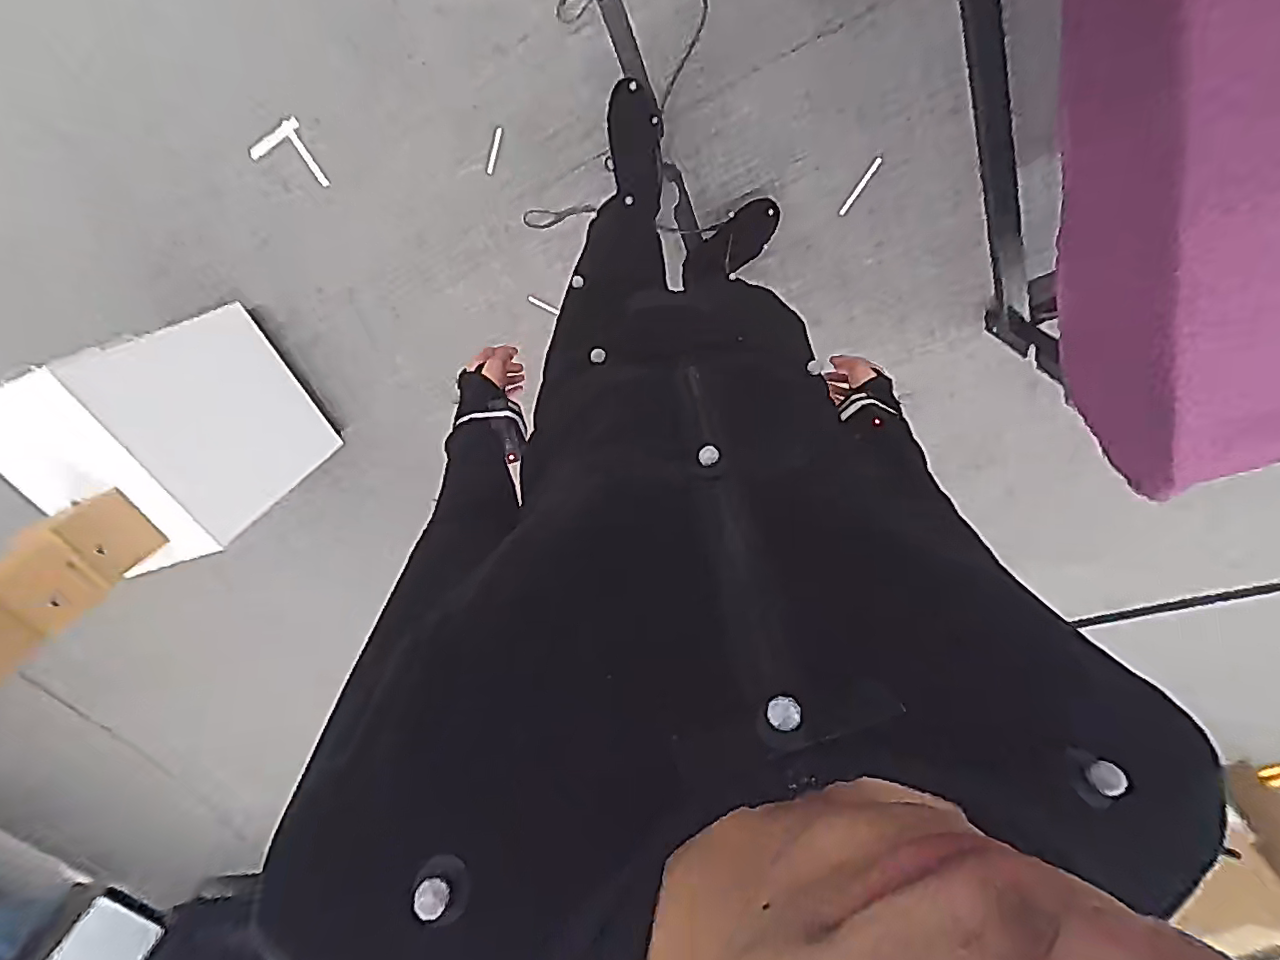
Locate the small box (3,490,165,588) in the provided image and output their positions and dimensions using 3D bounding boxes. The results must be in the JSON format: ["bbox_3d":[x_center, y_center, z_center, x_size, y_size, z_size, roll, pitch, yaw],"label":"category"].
[{"bbox_3d":[-1.313,0.150,1.295,0.168,0.176,0.179,-14,119,15],"label":"small box"}]

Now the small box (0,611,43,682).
[{"bbox_3d":[-1.329,0.337,1.026,0.168,0.176,0.179,-15,119,16],"label":"small box"}]

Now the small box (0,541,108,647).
[{"bbox_3d":[-1.324,0.251,1.168,0.179,0.176,0.168,-12,120,15],"label":"small box"}]
